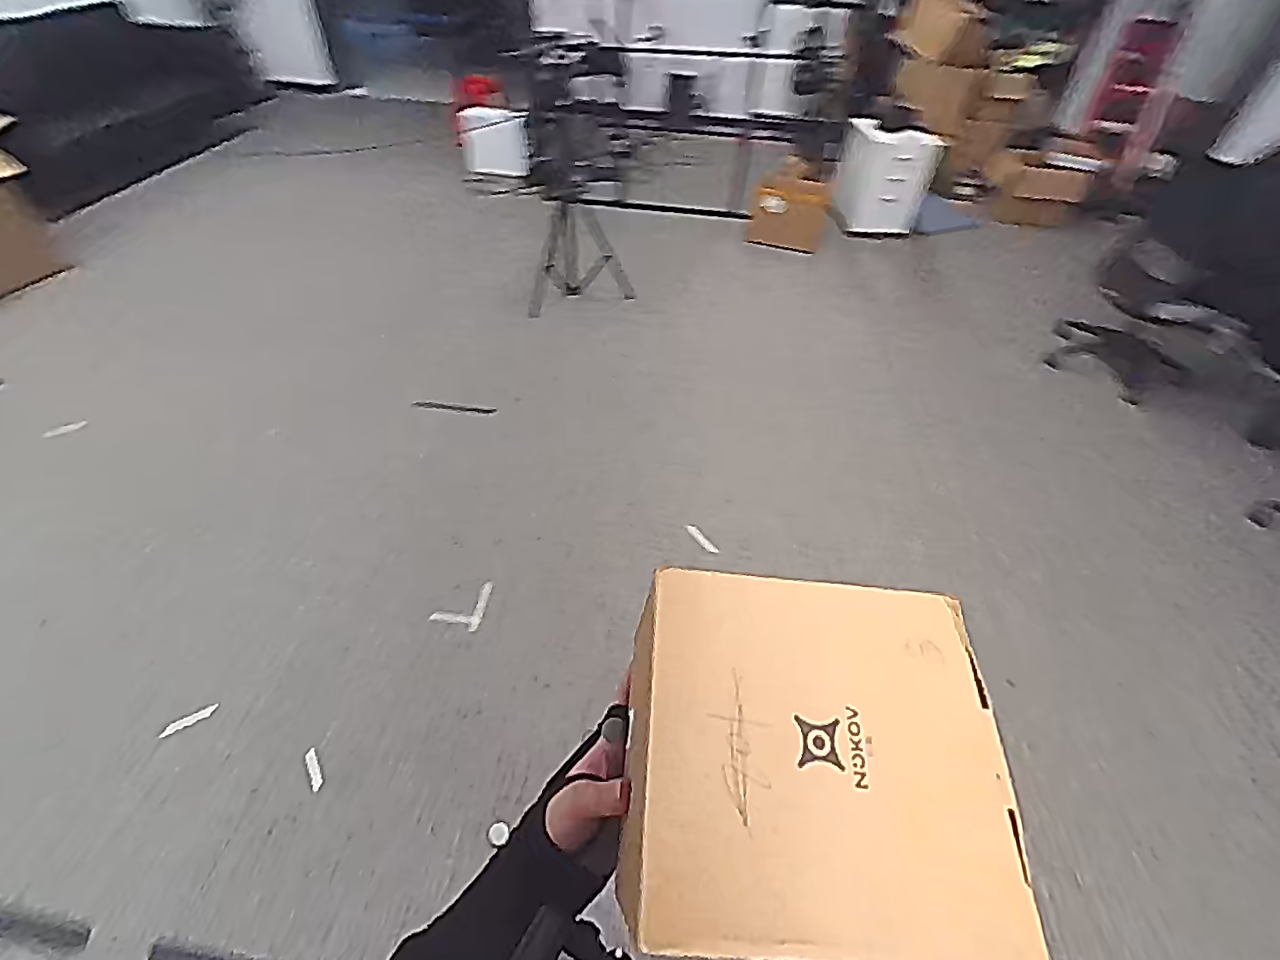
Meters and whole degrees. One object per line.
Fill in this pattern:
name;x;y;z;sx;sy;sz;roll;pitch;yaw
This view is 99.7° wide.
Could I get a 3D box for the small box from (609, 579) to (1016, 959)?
small box;0.076;0.175;0.340;0.179;0.176;0.168;4;58;-3
